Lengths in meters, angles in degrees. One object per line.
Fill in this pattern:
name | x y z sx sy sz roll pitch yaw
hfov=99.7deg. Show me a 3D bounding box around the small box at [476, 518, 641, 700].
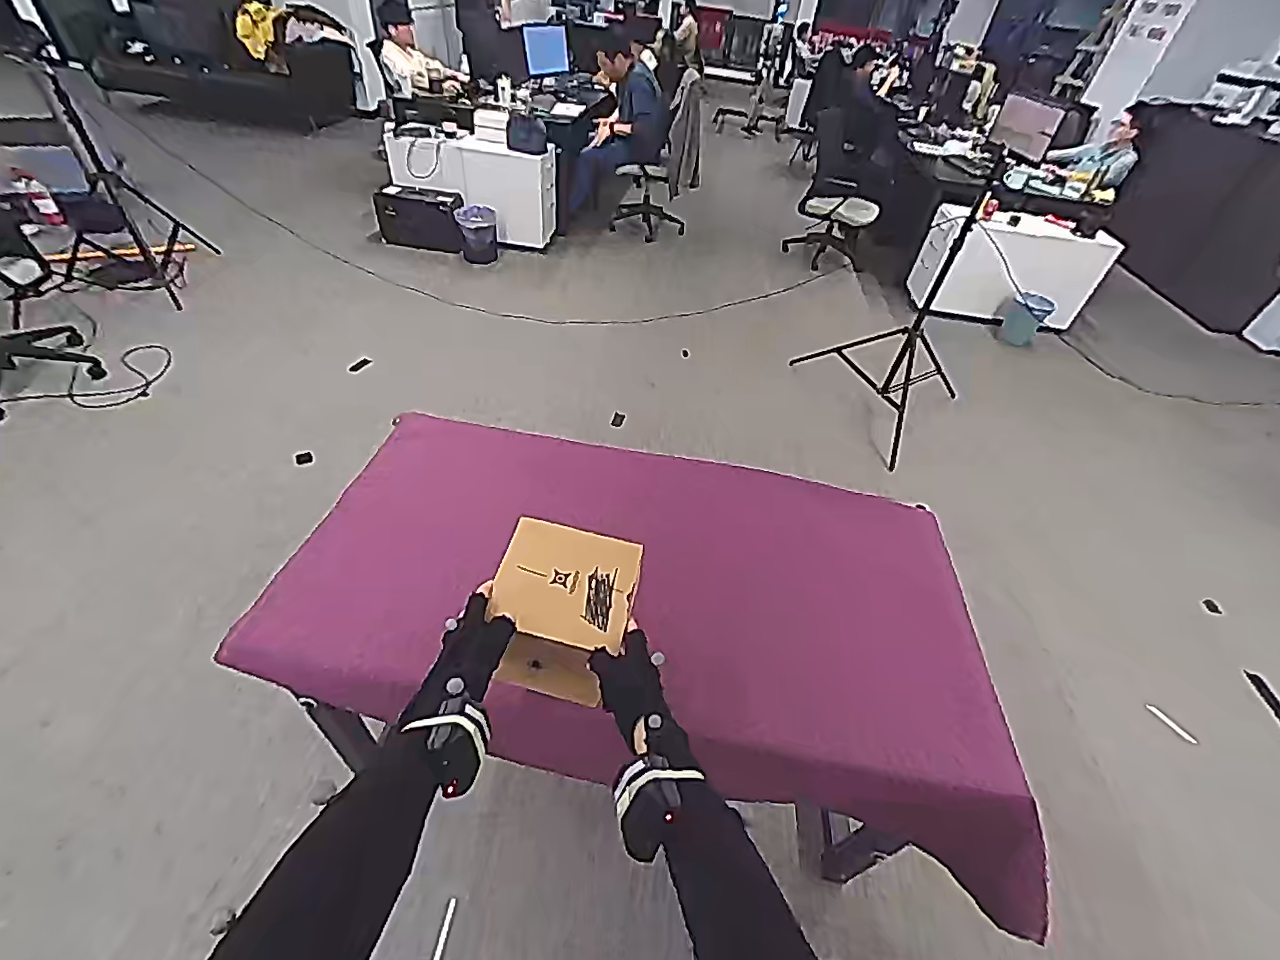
small box | -0.113 0.185 0.751 0.179 0.176 0.168 16 46 -2
